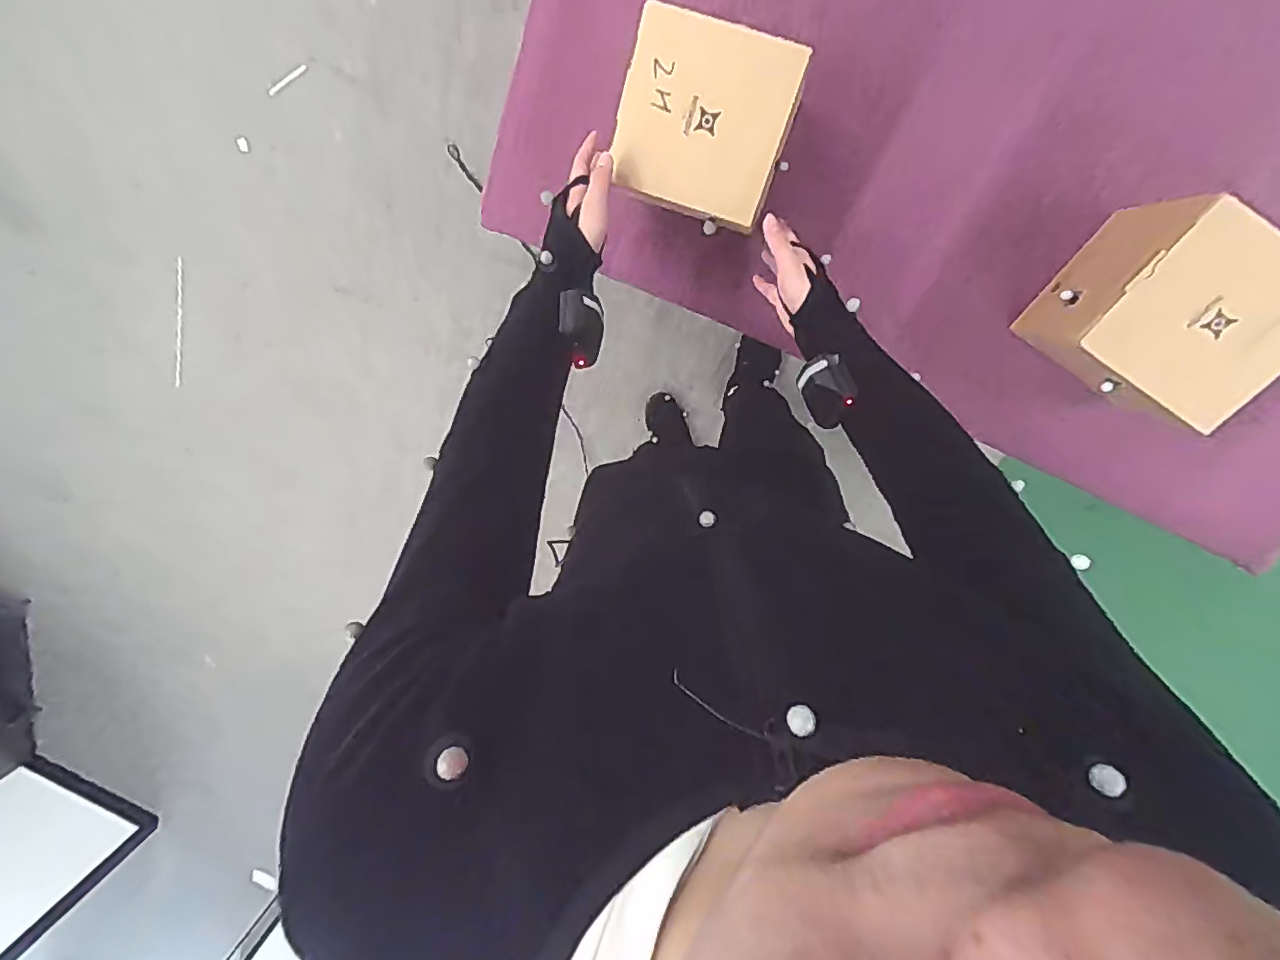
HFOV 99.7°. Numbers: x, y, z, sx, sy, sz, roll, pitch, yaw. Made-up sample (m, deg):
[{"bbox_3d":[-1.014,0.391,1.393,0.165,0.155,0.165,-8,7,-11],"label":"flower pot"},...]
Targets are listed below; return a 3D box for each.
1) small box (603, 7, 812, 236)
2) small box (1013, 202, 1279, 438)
[{"bbox_3d":[0.079,-0.397,0.633,0.179,0.176,0.168,21,114,4],"label":"small box"},{"bbox_3d":[0.578,-0.178,0.611,0.179,0.176,0.168,35,114,-3],"label":"small box"}]
